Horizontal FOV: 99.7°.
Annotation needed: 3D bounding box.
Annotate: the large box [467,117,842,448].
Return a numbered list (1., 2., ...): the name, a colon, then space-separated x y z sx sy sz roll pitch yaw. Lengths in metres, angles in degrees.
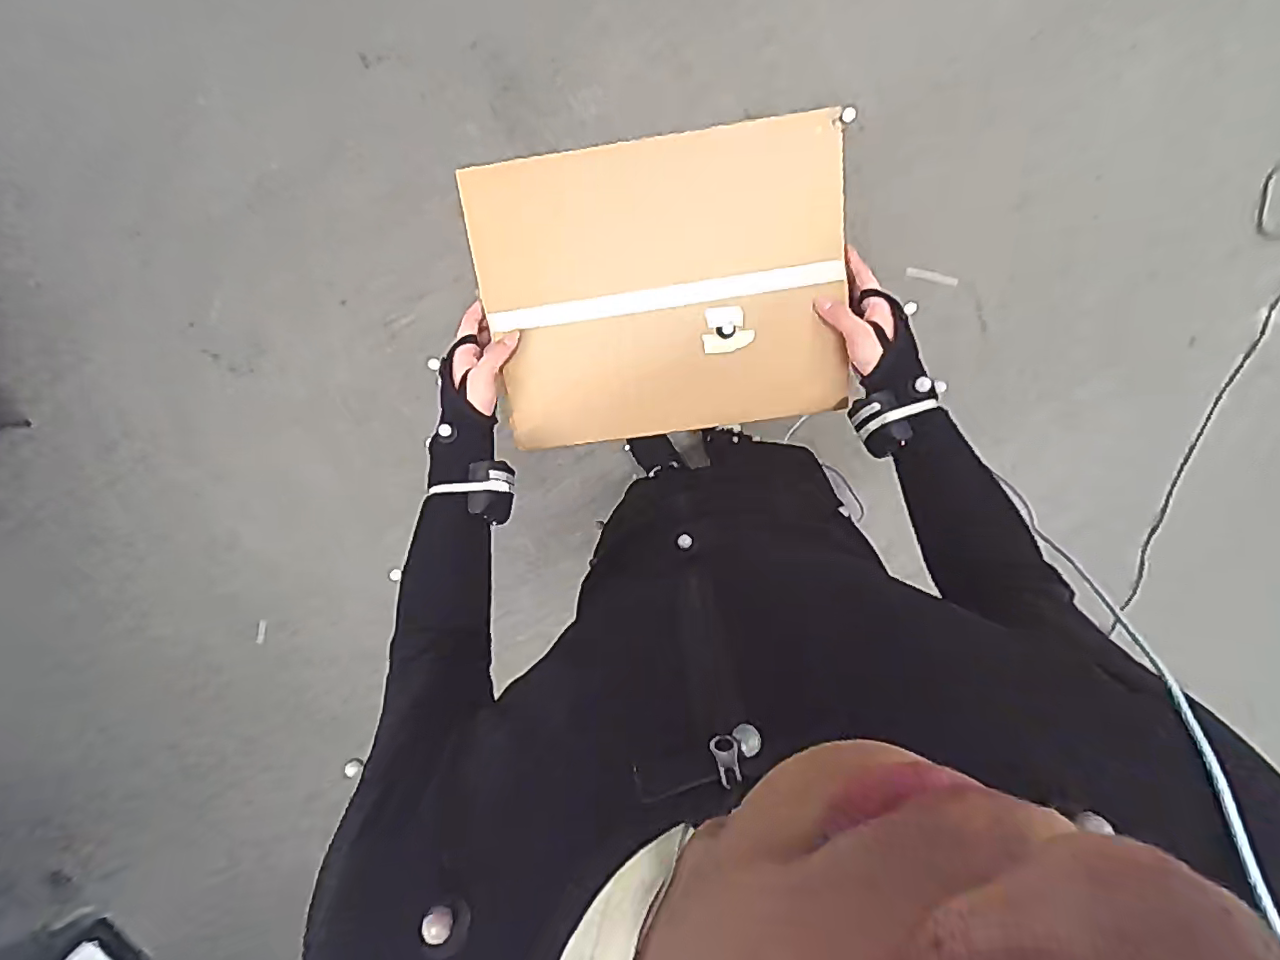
1. large box: 0.027 -0.252 0.762 0.408 0.320 0.320 -7 107 3
